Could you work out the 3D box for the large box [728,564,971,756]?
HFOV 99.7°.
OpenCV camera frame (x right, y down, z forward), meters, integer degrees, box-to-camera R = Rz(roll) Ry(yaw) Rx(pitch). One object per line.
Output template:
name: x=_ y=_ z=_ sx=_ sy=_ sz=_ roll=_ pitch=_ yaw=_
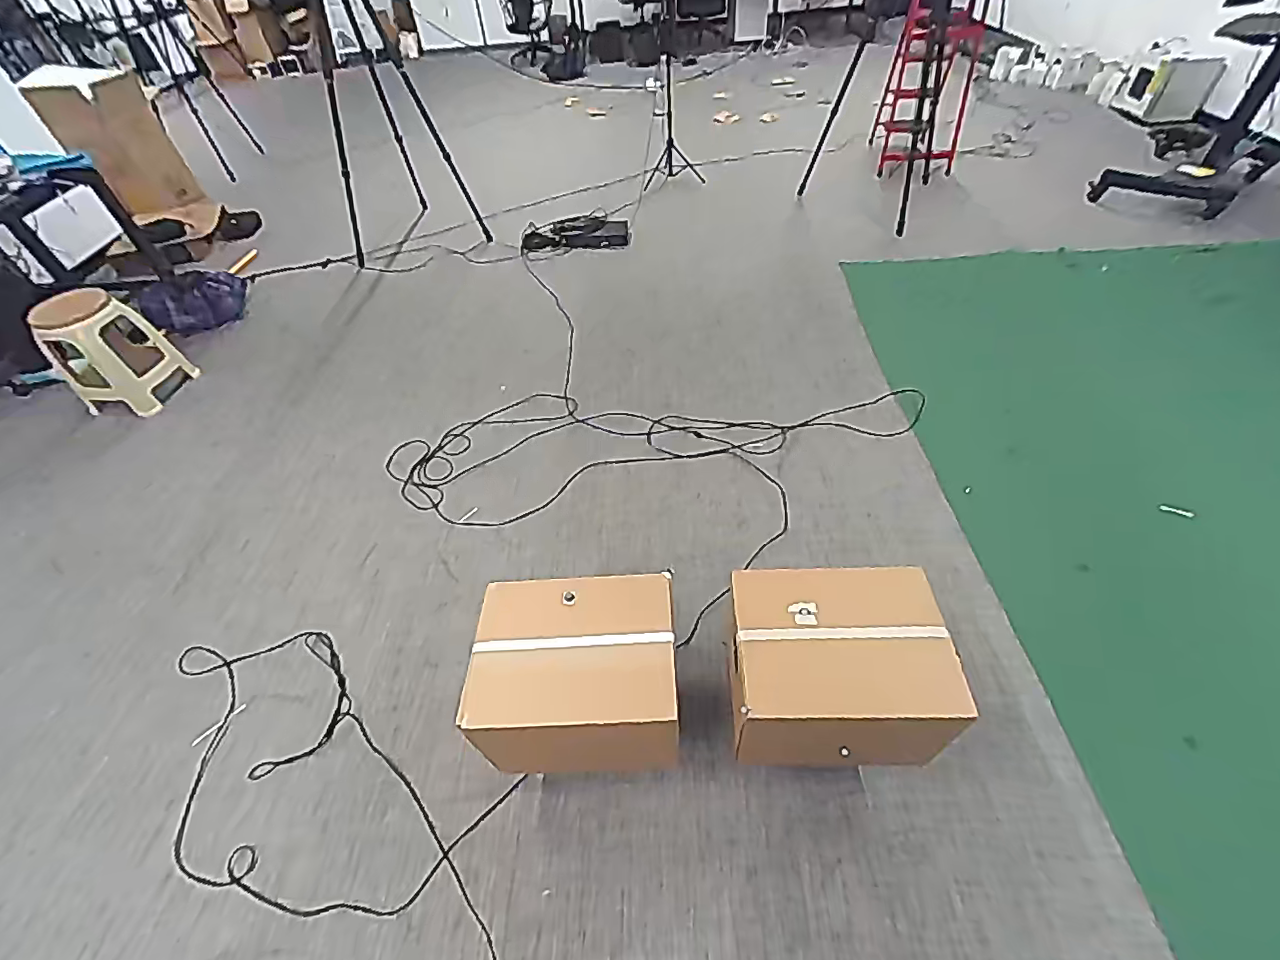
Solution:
large box: x=0.412 y=0.403 z=1.186 sx=0.408 sy=0.320 sz=0.320 roll=-2 pitch=48 yaw=4
